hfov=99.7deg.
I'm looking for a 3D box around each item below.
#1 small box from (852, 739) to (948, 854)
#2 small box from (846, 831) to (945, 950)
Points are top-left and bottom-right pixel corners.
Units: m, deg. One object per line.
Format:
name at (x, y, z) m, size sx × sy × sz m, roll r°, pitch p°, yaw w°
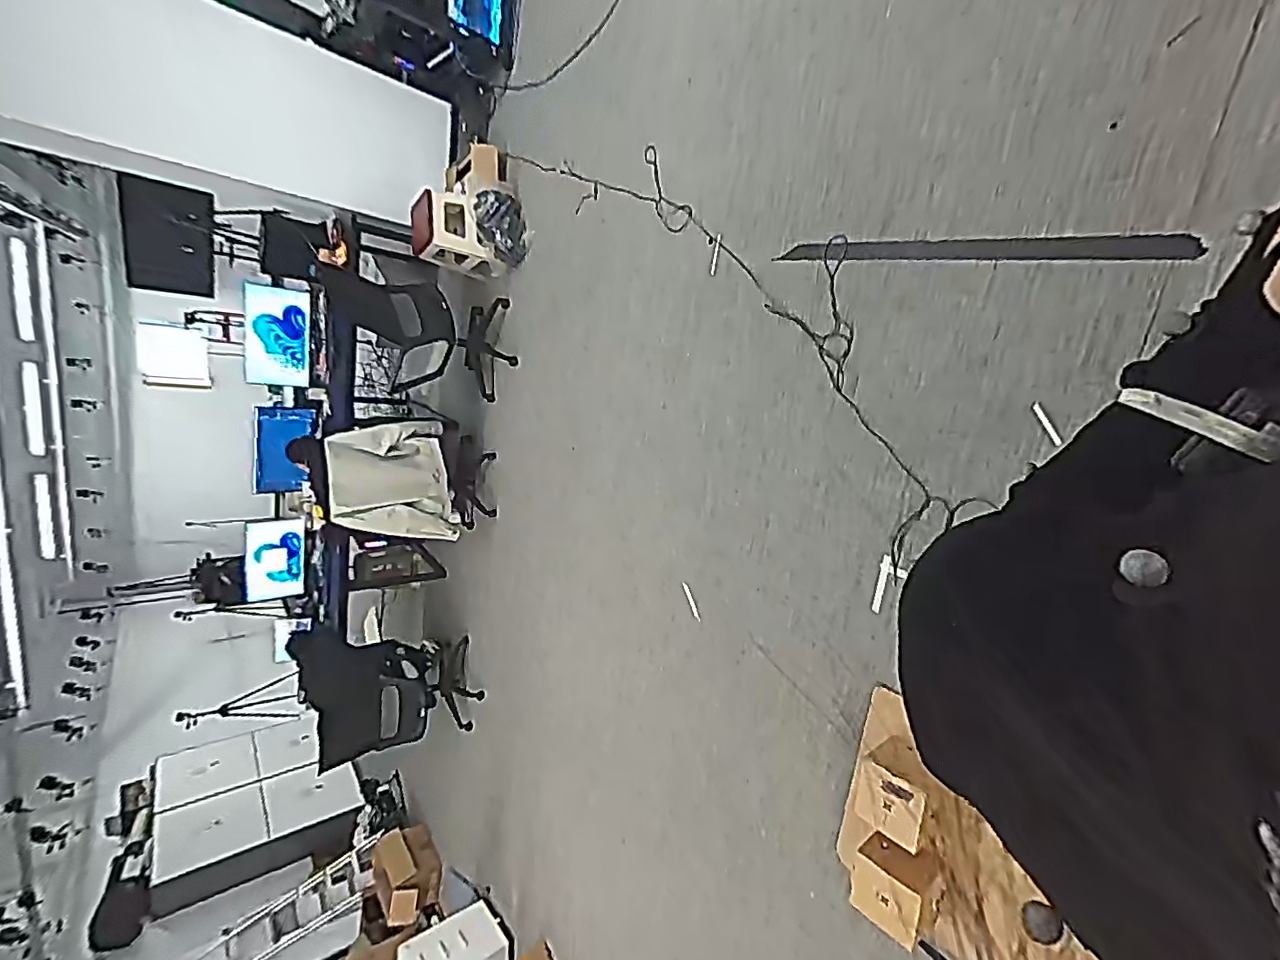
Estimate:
small box at (0.693, 0.826, 1.435) m, size 0.168 × 0.176 × 0.179 m, roll 16°, pitch 104°, yaw 48°
small box at (0.688, 1.085, 1.458) m, size 0.179 × 0.176 × 0.168 m, roll 14°, pitch 103°, yaw 48°
